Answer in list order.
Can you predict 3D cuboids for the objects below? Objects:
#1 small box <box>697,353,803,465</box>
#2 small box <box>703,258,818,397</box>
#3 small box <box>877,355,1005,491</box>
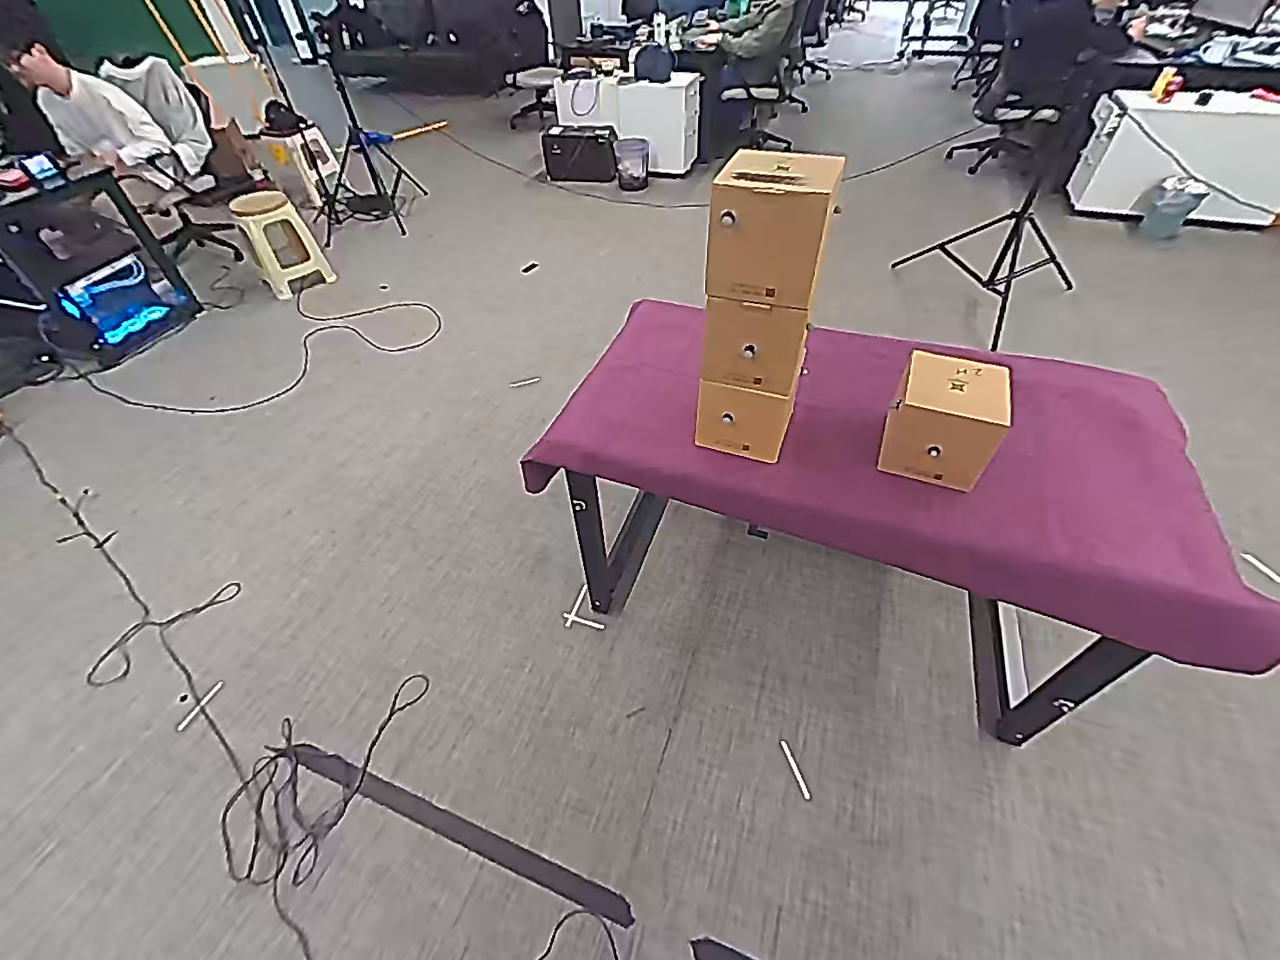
[{"bbox_3d":[0.217,-0.156,1.088,0.168,0.176,0.179,15,48,16],"label":"small box"},{"bbox_3d":[0.213,-0.273,0.974,0.168,0.176,0.179,13,49,14],"label":"small box"},{"bbox_3d":[0.563,-0.106,1.024,0.168,0.176,0.179,17,49,17],"label":"small box"}]
